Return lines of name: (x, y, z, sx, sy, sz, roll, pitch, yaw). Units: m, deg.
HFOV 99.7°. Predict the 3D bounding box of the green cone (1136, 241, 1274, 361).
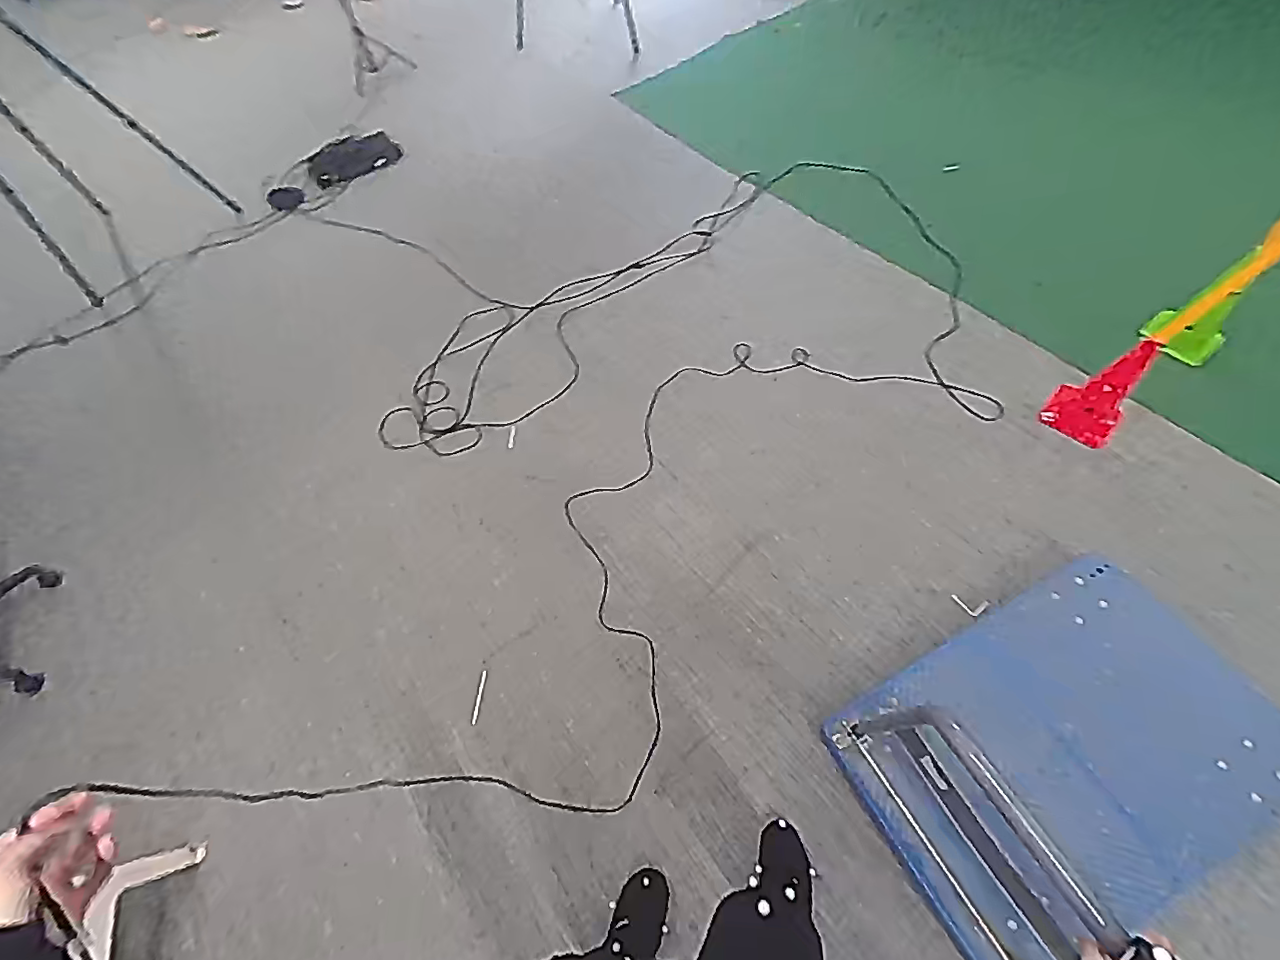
green cone: (1.869, -0.600, 1.749, 0.202, 0.368, 0.200, -36, 62, -15)
